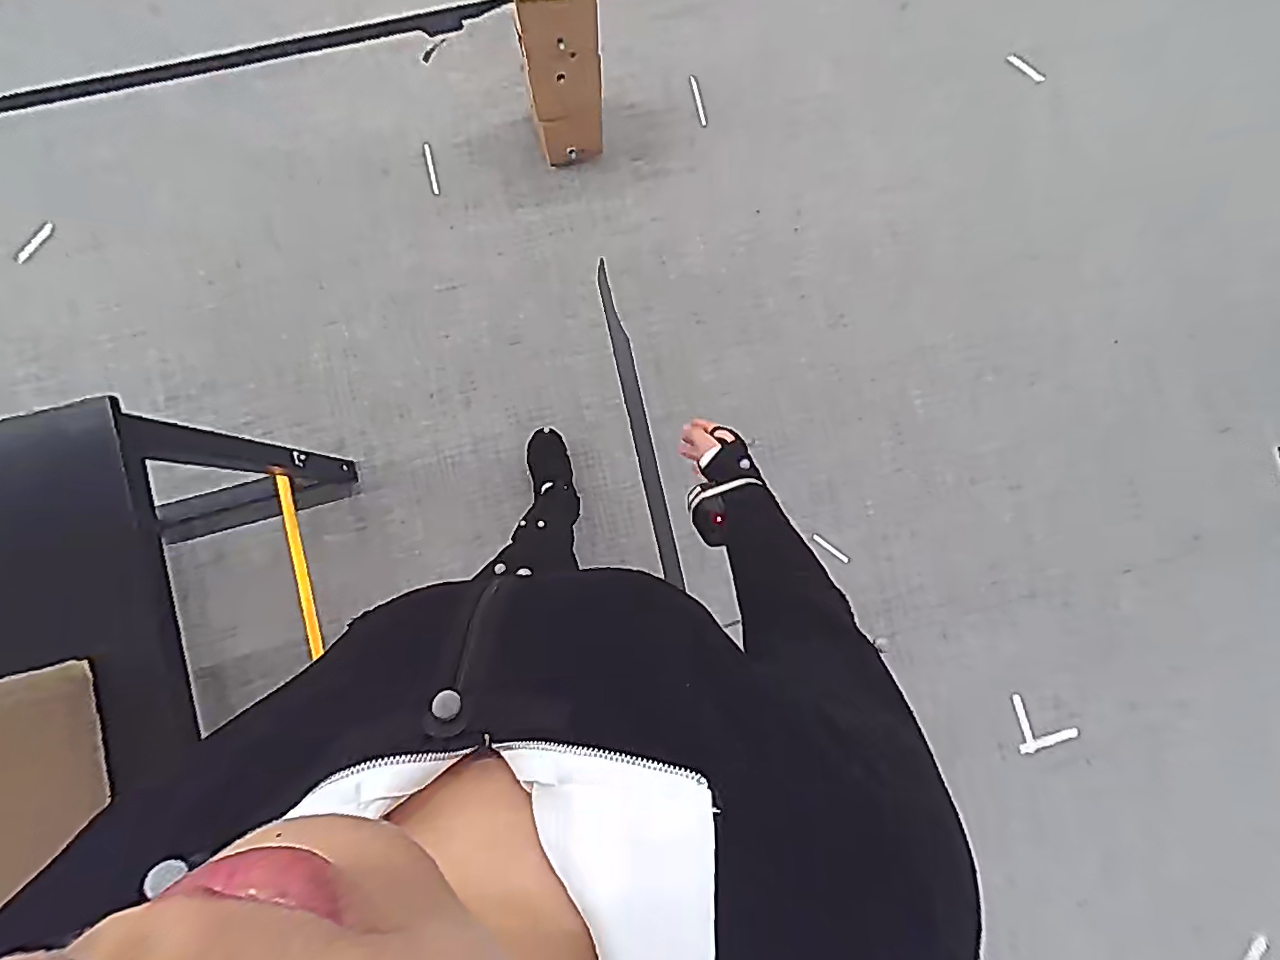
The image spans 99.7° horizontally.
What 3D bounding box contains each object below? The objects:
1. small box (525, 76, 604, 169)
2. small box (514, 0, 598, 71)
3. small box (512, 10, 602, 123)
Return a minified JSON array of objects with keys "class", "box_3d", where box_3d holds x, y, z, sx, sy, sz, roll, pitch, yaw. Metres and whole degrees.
[{"class":"small box","box_3d":[-0.203,-1.001,1.484,0.168,0.176,0.179,-19,88,-3]},{"class":"small box","box_3d":[-0.186,-1.030,1.156,0.168,0.176,0.179,-11,87,-3]},{"class":"small box","box_3d":[-0.196,-1.015,1.320,0.179,0.176,0.168,-14,87,-4]}]
